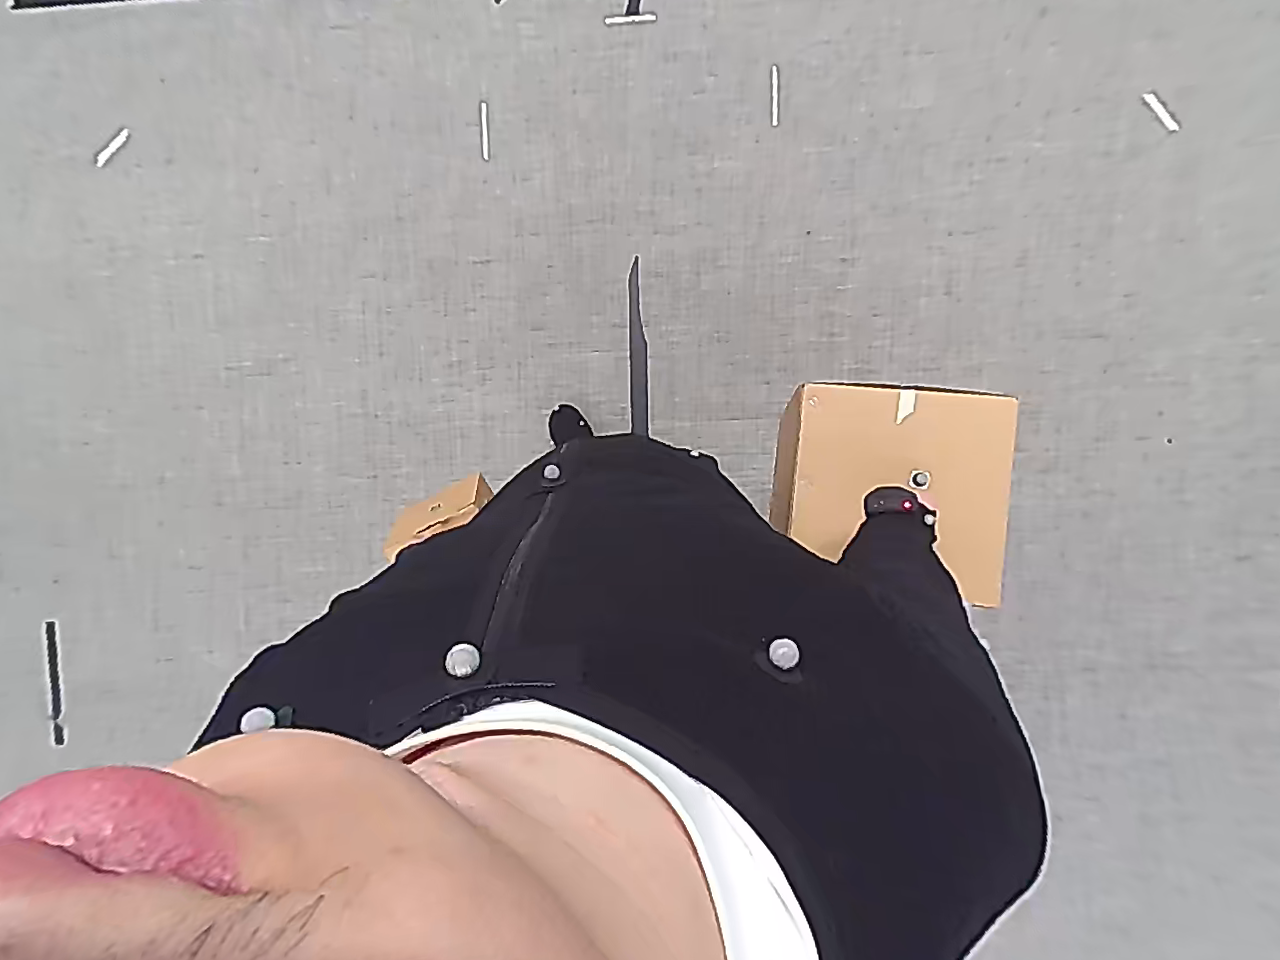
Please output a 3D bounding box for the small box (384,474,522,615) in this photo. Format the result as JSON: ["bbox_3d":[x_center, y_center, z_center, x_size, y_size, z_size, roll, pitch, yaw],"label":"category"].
[{"bbox_3d":[-0.326,0.118,0.981,0.168,0.179,0.176,-27,111,-3],"label":"small box"}]
